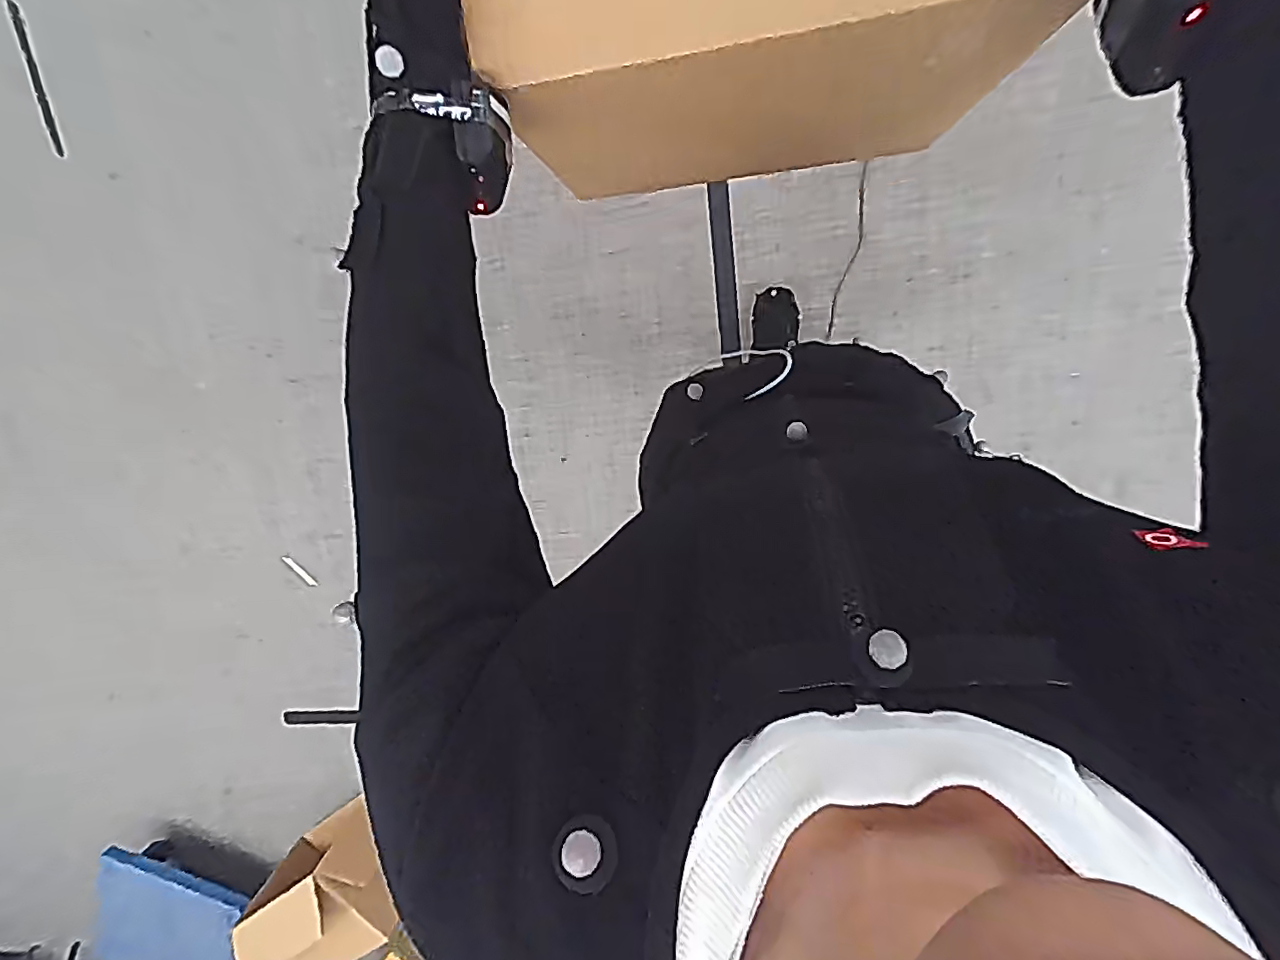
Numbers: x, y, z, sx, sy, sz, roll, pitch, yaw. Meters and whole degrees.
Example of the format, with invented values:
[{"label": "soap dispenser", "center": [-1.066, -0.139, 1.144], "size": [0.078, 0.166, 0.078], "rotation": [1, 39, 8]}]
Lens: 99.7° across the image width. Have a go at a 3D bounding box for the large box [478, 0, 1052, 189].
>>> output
[{"label": "large box", "center": [0.088, -0.481, 0.455], "size": [0.408, 0.320, 0.320], "rotation": [-5, 104, 8]}]
